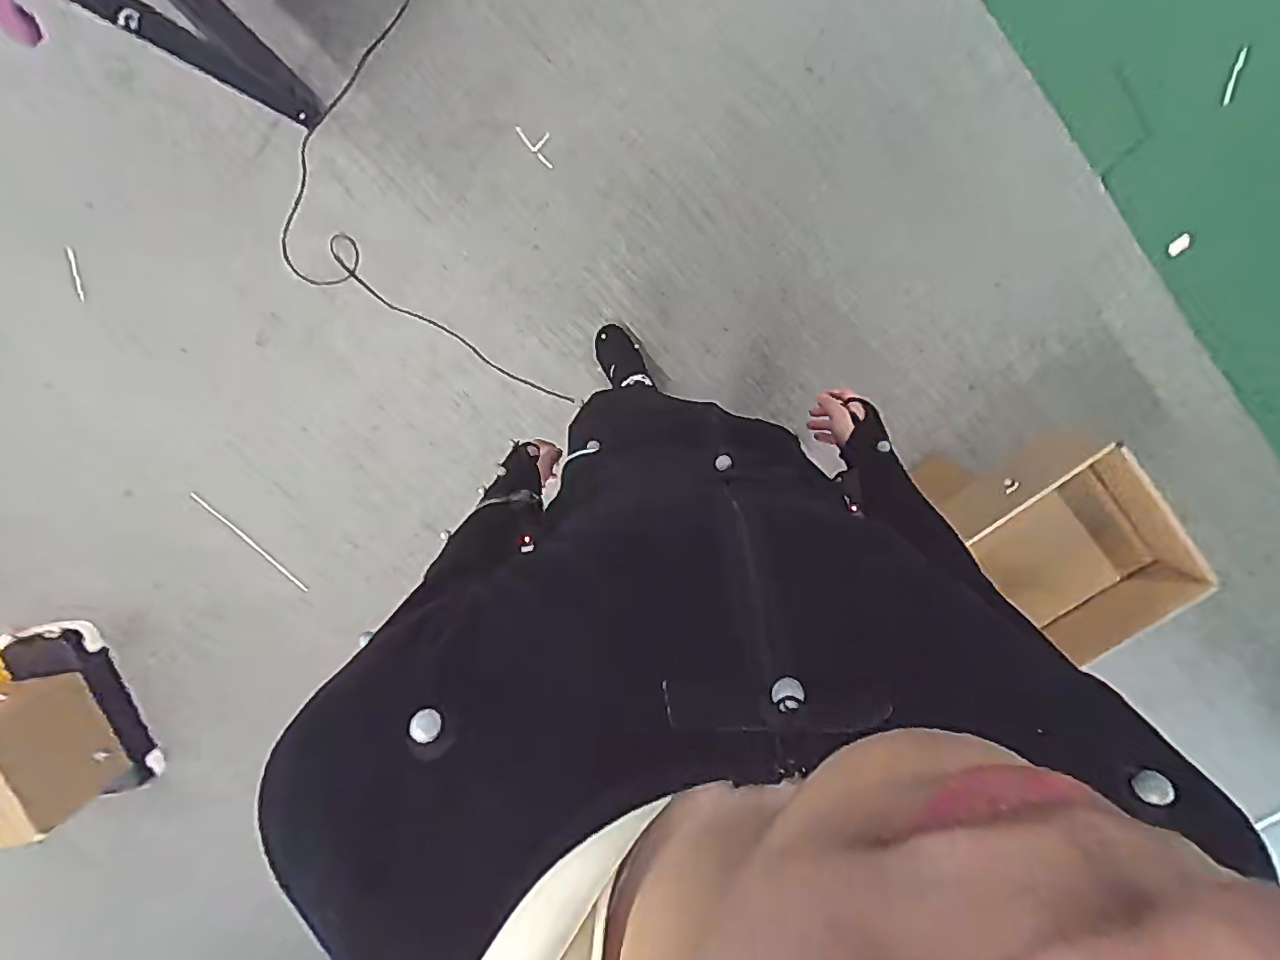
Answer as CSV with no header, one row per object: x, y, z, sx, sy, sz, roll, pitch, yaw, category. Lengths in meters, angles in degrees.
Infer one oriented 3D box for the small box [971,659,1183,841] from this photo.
0.682,0.417,0.869,0.168,0.176,0.179,-40,100,14,small box
